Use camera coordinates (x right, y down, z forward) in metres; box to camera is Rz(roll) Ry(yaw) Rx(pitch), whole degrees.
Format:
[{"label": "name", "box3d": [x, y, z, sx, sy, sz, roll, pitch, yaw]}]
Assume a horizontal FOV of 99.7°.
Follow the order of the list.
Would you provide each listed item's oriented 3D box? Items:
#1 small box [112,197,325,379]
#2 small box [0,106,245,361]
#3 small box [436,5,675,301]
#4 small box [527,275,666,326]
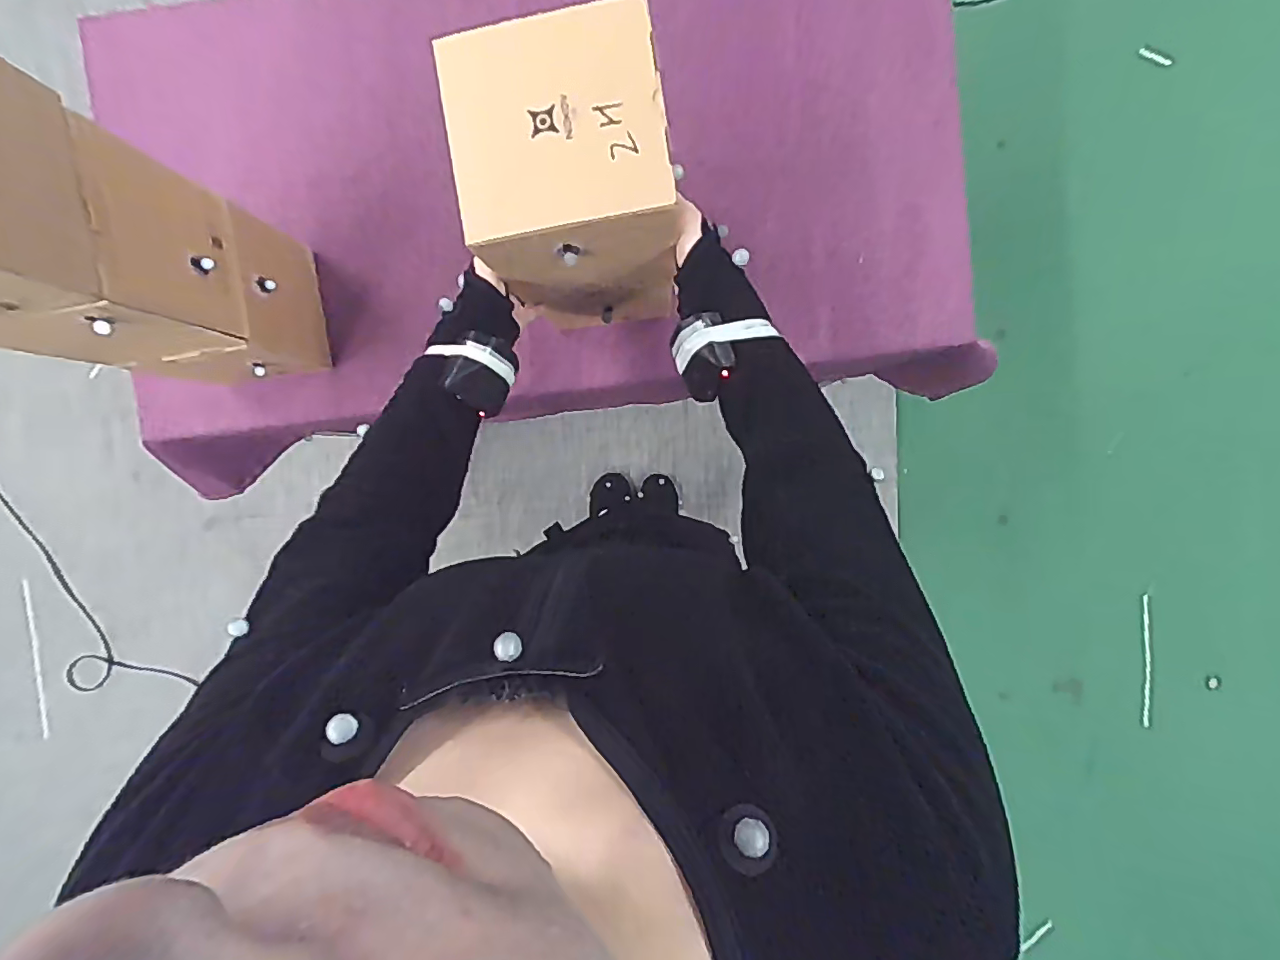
[{"label": "small box", "box3d": [-0.539, -0.230, 0.699, 0.168, 0.176, 0.179, -7, 92, 1]}, {"label": "small box", "box3d": [-0.547, -0.223, 0.537, 0.179, 0.176, 0.168, -9, 93, 0]}, {"label": "small box", "box3d": [-0.063, -0.281, 0.509, 0.179, 0.176, 0.168, -8, 92, 4]}, {"label": "small box", "box3d": [-0.054, -0.300, 0.682, 0.168, 0.176, 0.179, -6, 93, 2]}]
